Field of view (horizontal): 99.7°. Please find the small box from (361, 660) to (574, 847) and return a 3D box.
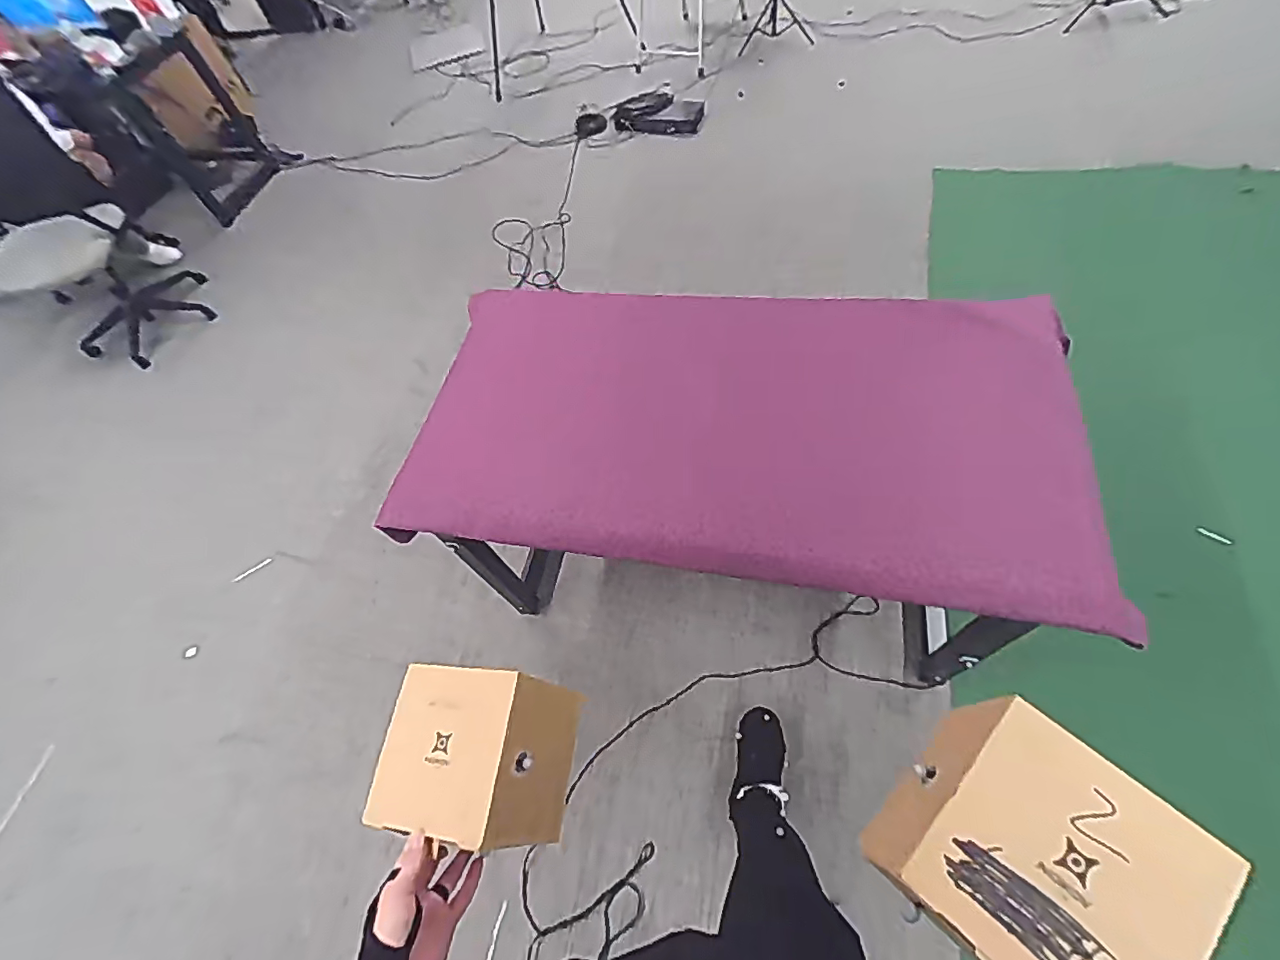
[{"bbox_3d":[-0.198,0.335,0.676,0.168,0.176,0.179,-4,60,21],"label":"small box"}]
